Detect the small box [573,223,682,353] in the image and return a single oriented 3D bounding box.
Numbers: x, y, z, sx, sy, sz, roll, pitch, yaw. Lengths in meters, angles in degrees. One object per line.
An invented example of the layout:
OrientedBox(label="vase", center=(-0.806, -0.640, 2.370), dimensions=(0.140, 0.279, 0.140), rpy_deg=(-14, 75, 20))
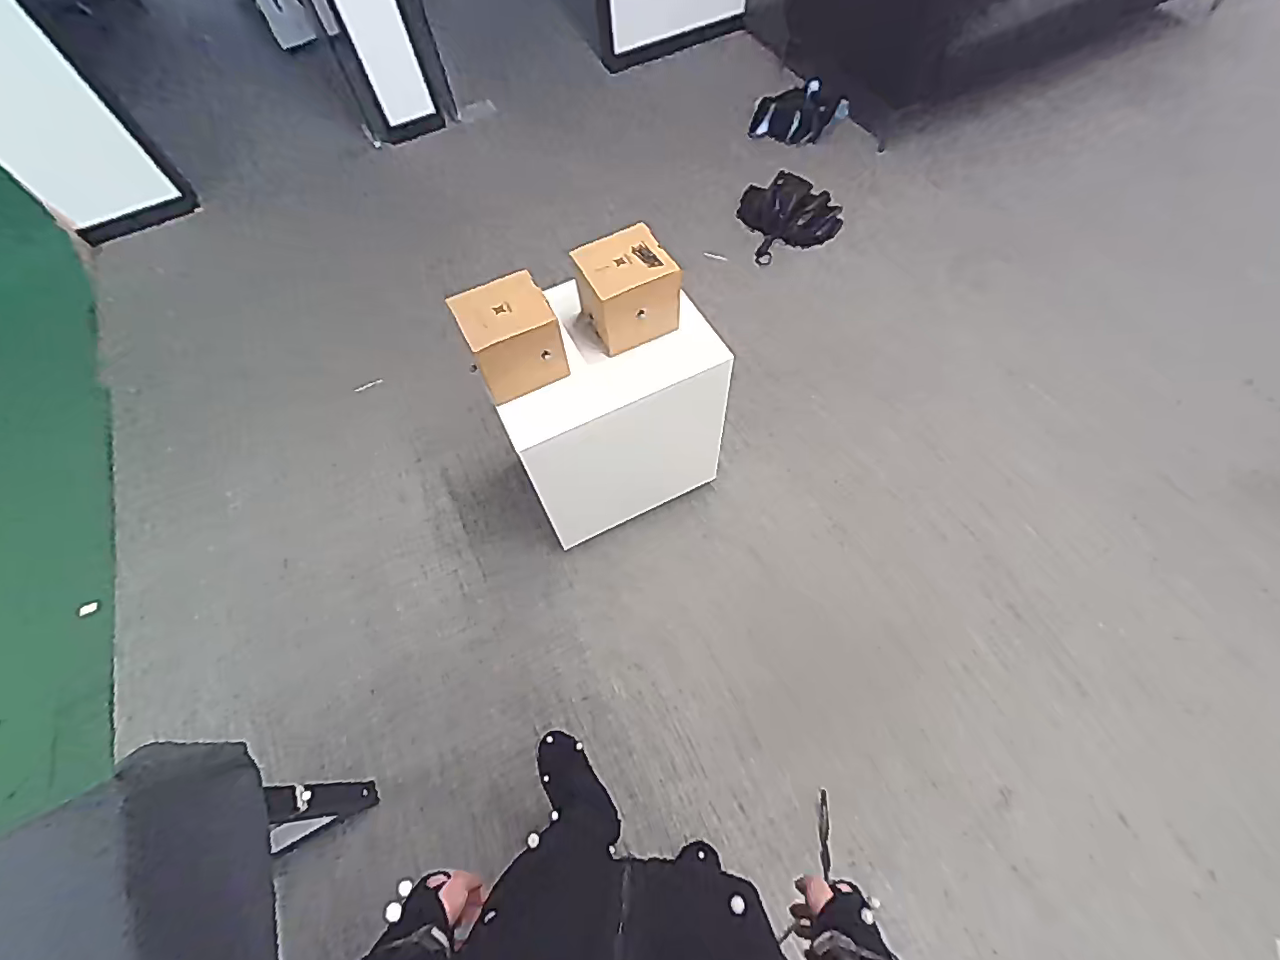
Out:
OrientedBox(label="small box", center=(-0.026, -0.407, 1.157), dimensions=(0.179, 0.176, 0.168), rpy_deg=(-24, 63, -10))

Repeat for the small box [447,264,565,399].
OrientedBox(label="small box", center=(-0.263, -0.298, 1.105), dimensions=(0.179, 0.176, 0.168), rpy_deg=(-26, 63, -12))
